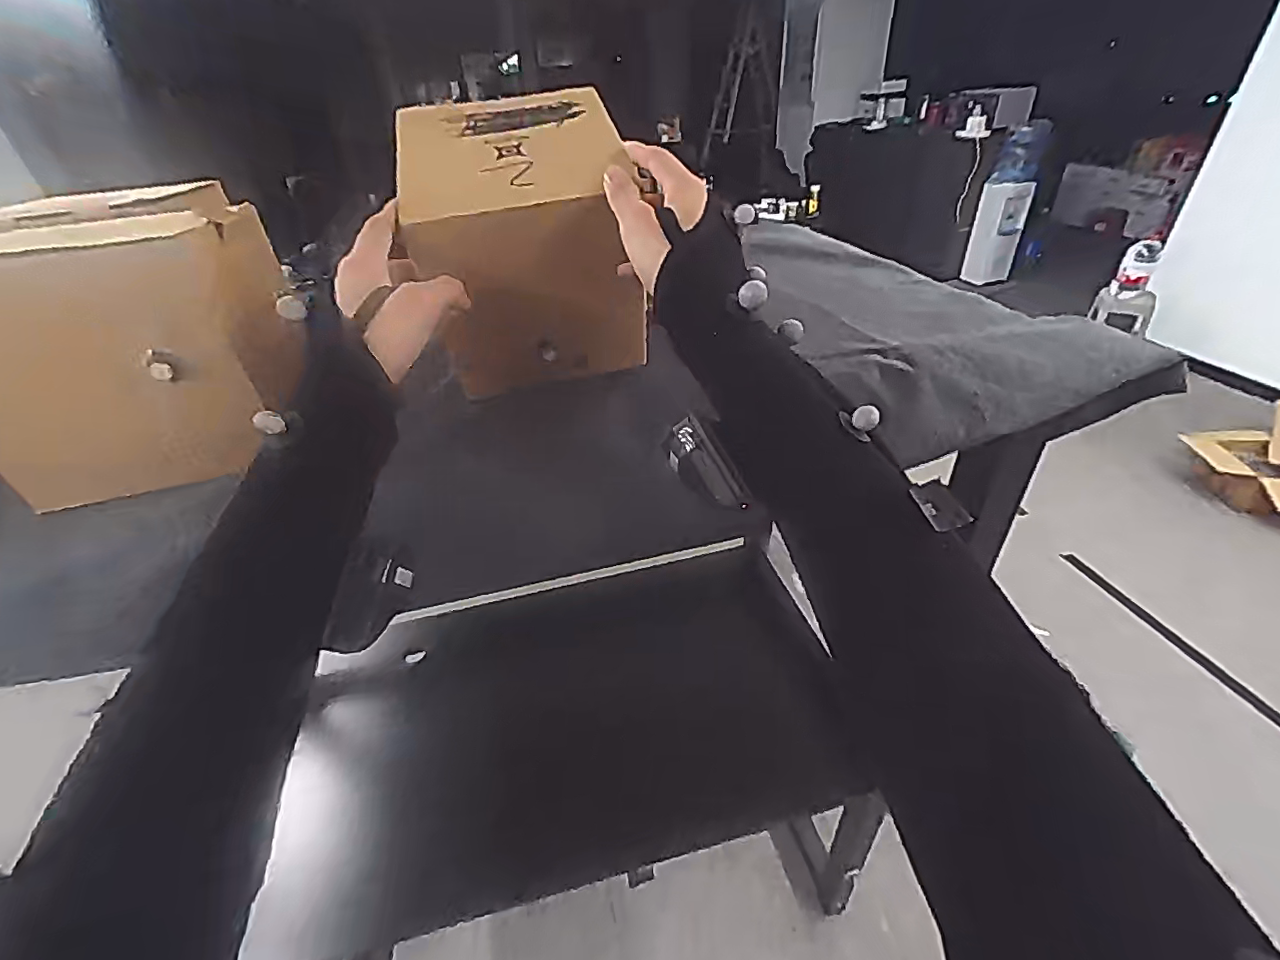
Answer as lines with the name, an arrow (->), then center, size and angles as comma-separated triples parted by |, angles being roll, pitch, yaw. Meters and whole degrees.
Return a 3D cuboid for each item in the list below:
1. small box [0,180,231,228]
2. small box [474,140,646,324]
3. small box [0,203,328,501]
small box -> -0.525, -0.211, 0.585 | 0.168, 0.176, 0.179 | -11, 36, -8
small box -> -0.093, -0.301, 0.651 | 0.168, 0.176, 0.179 | -11, 36, -7
small box -> -0.374, -0.106, 0.421 | 0.179, 0.176, 0.168 | -12, 34, -11
